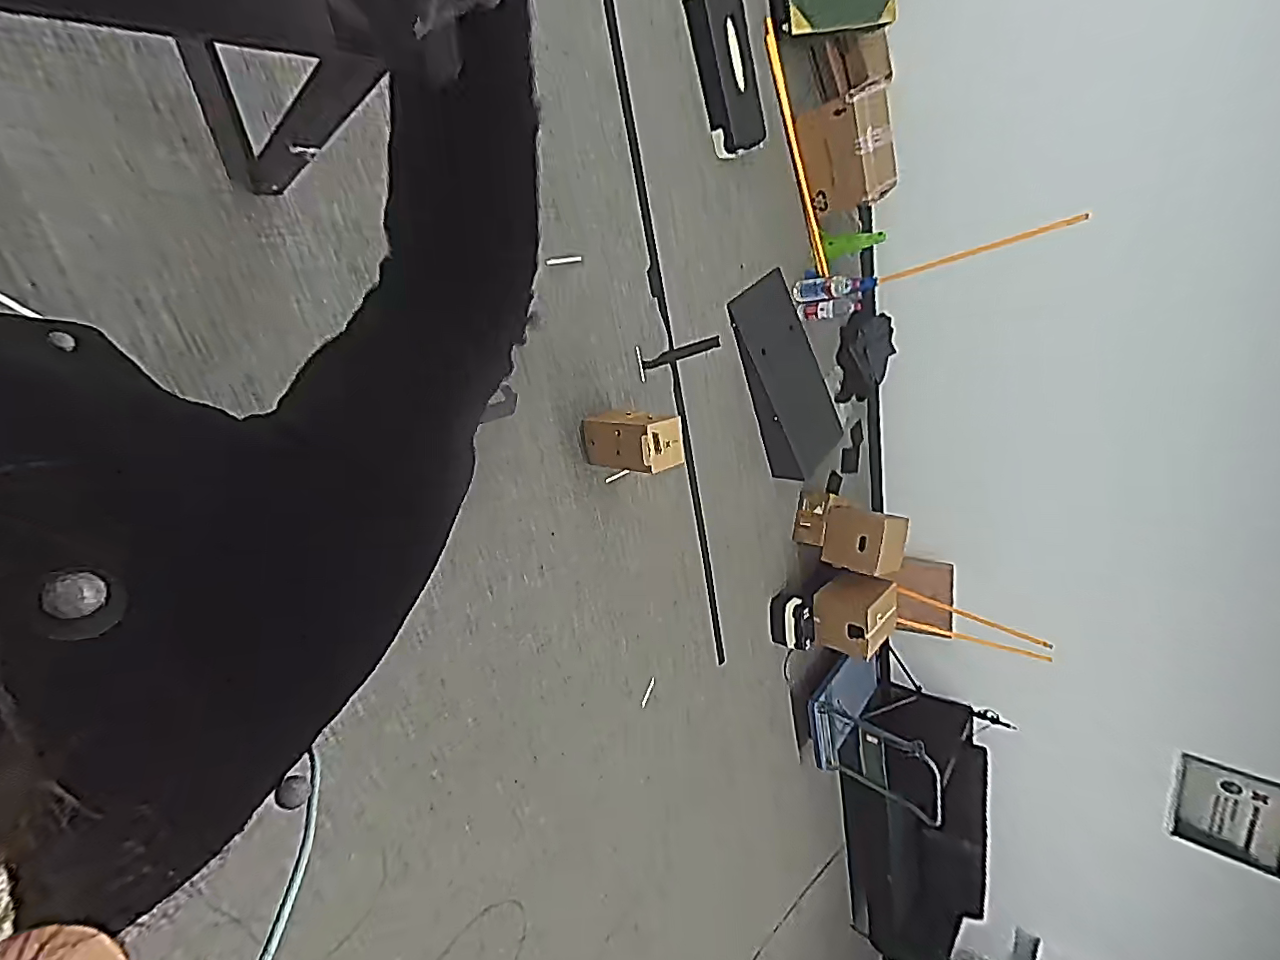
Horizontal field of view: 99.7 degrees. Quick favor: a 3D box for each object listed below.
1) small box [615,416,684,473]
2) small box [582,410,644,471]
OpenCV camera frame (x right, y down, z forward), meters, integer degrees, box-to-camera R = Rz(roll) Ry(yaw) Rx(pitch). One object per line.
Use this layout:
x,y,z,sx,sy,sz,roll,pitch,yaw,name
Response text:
0.026,-0.125,1.857,0.179,0.176,0.168,-21,111,-43,small box
-0.089,-0.149,1.973,0.168,0.176,0.179,-26,115,-41,small box
